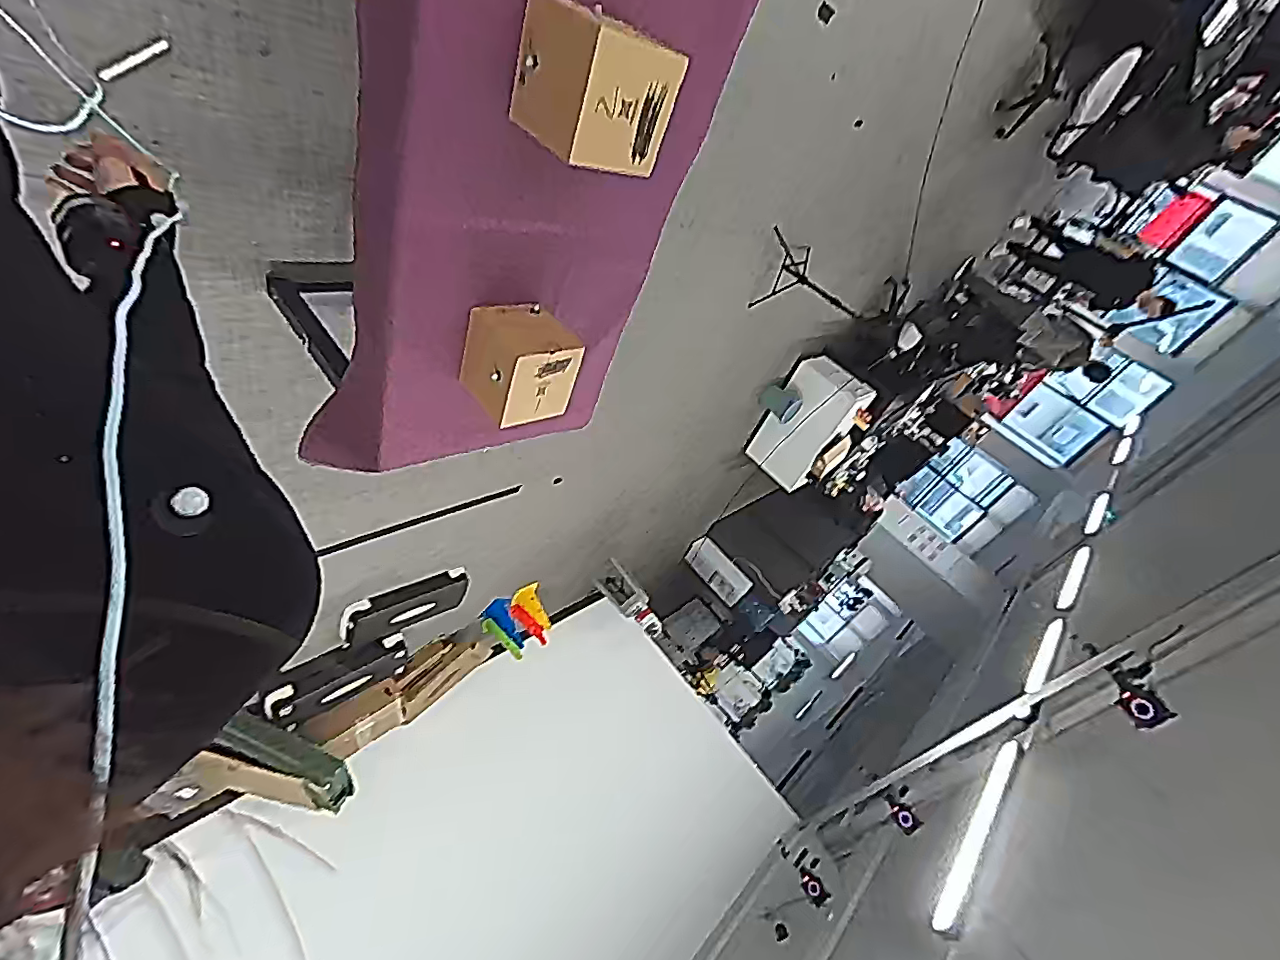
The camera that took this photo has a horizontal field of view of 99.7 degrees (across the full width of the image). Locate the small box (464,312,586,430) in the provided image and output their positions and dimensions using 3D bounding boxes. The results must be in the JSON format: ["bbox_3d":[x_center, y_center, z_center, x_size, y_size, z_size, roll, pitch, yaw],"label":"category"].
[{"bbox_3d":[-0.244,-0.235,1.119,0.168,0.176,0.179,-21,148,-43],"label":"small box"}]
